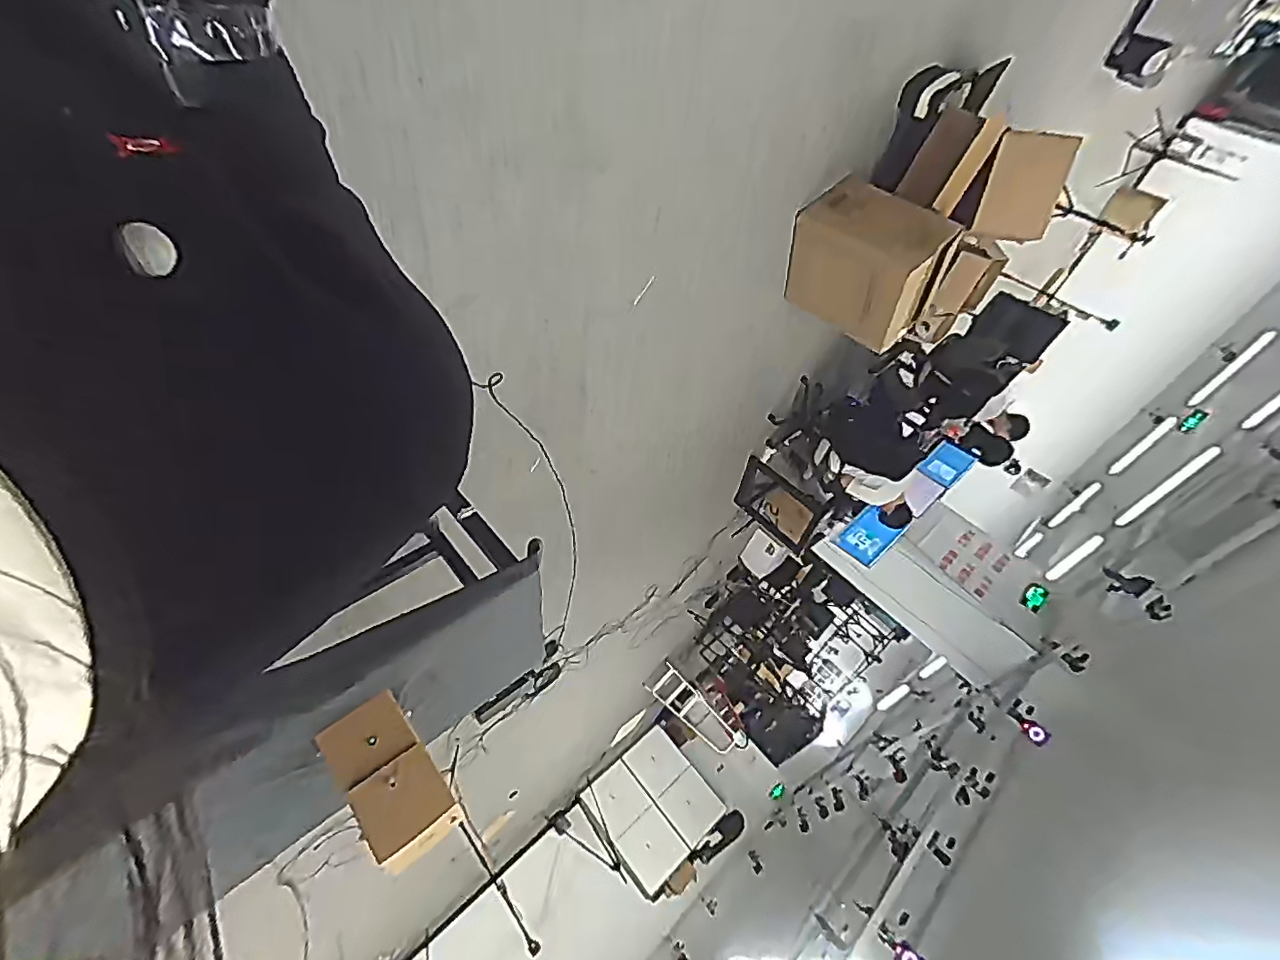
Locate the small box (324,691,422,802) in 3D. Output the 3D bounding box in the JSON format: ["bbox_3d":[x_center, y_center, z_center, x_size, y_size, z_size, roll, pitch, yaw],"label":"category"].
[{"bbox_3d":[-0.629,0.648,1.299,0.179,0.176,0.168,-32,151,-31],"label":"small box"}]

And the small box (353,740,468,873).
[{"bbox_3d":[-0.518,0.731,1.216,0.179,0.176,0.168,-32,150,-30],"label":"small box"}]
